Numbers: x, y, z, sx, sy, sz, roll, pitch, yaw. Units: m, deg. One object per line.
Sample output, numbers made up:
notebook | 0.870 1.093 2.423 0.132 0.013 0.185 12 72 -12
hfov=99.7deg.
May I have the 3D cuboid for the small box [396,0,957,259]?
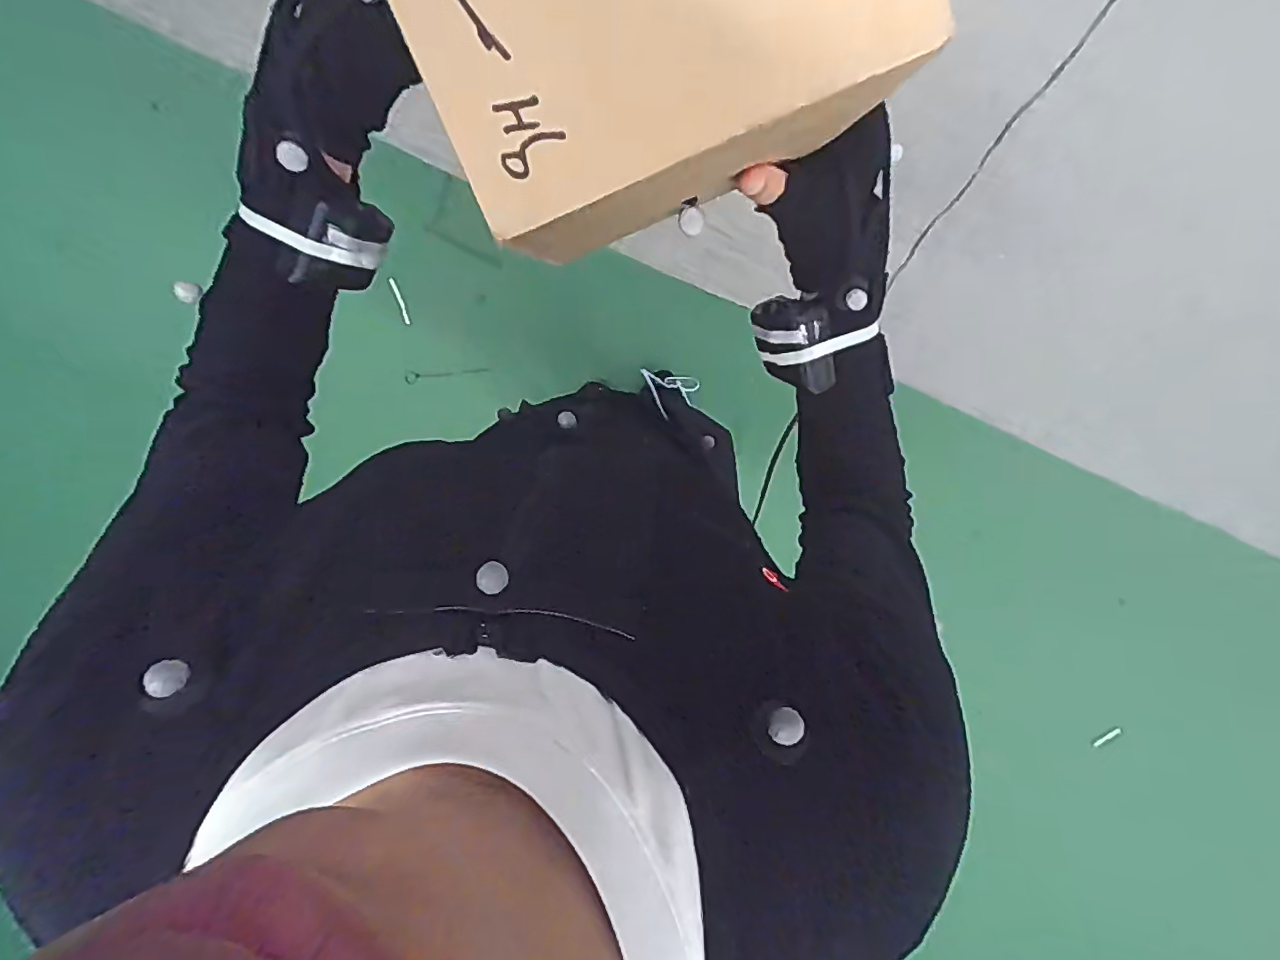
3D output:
small box | -0.002 -0.214 0.241 0.179 0.176 0.168 -20 108 5
